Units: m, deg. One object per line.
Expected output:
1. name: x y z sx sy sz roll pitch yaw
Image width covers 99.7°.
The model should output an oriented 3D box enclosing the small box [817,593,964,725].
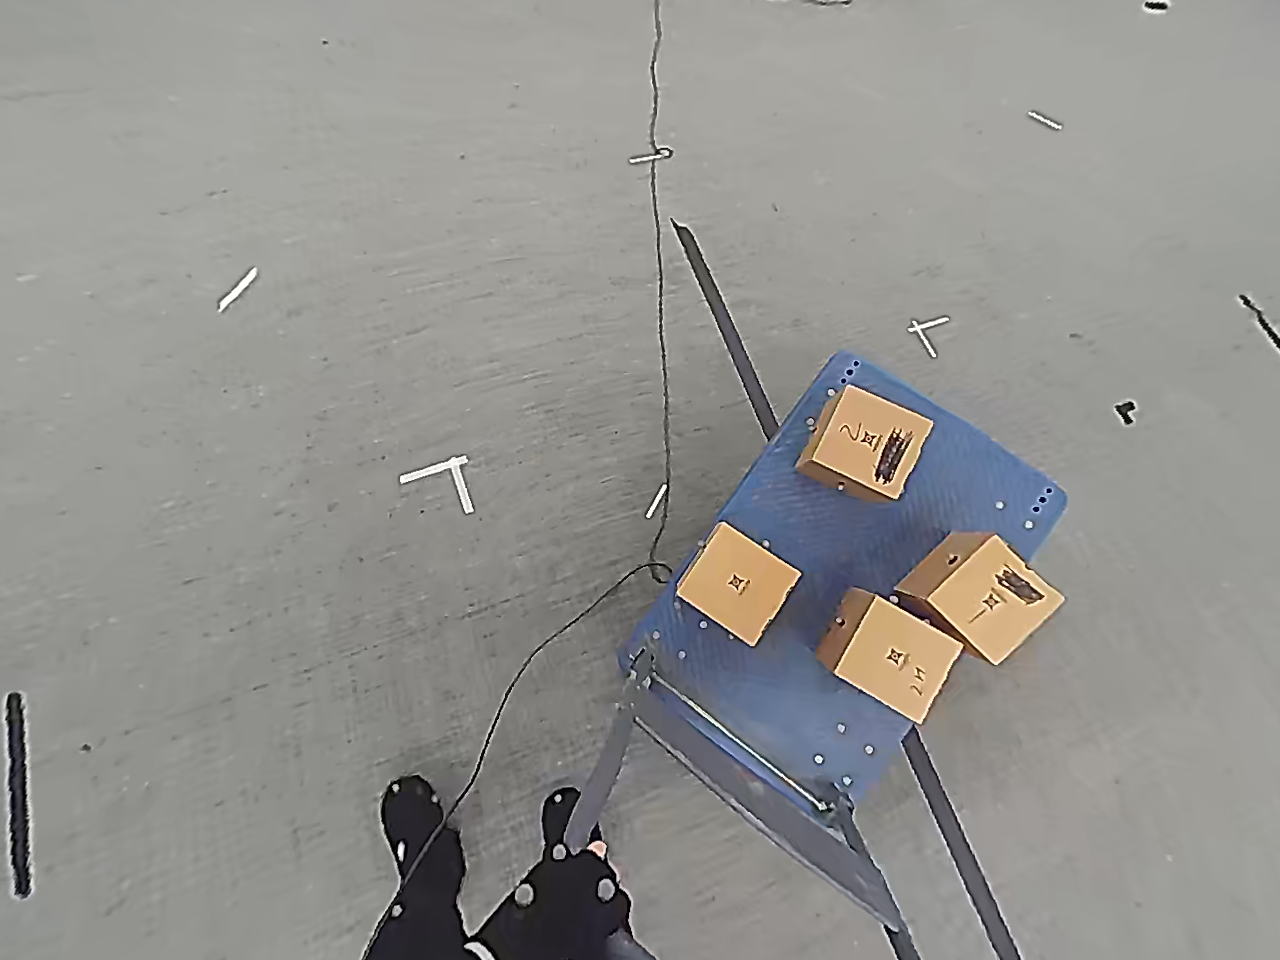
1. small box: 0.470 0.333 1.049 0.179 0.176 0.168 31 88 7

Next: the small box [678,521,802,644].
1. small box: 0.190 0.200 1.088 0.179 0.176 0.168 34 88 6

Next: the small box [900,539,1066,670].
1. small box: 0.644 0.227 1.043 0.179 0.176 0.168 -44 82 1
